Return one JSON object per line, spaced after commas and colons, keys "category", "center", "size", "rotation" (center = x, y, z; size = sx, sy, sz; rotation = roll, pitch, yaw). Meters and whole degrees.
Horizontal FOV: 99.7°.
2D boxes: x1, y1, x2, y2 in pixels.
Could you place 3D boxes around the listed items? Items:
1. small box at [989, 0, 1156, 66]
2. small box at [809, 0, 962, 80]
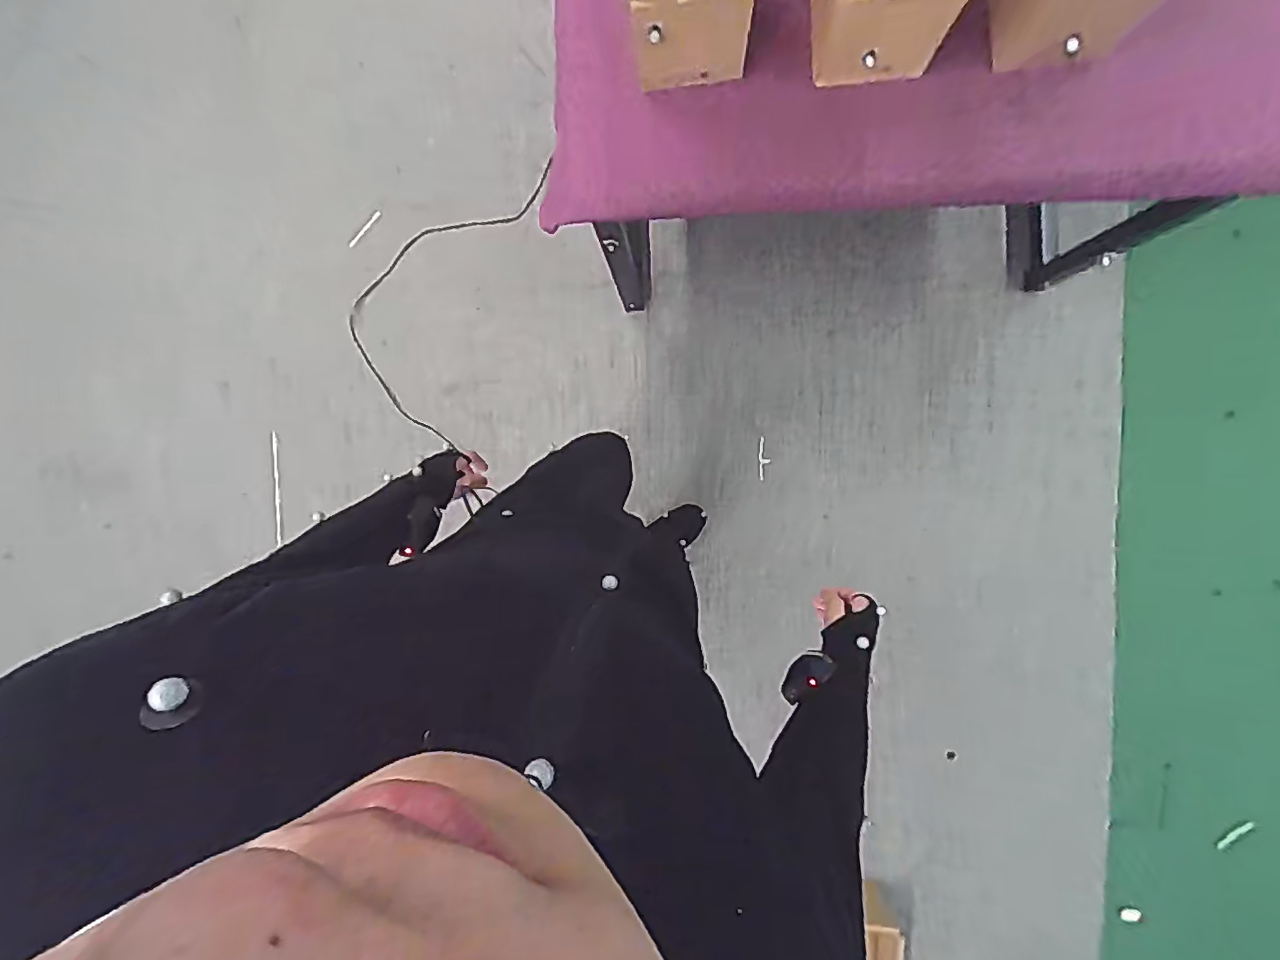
{"category": "small box", "center": [0.606, -0.720, 0.740], "size": [0.168, 0.176, 0.179], "rotation": [-4, 92, 5]}
{"category": "small box", "center": [0.342, -0.713, 0.761], "size": [0.168, 0.176, 0.179], "rotation": [-3, 93, 4]}
